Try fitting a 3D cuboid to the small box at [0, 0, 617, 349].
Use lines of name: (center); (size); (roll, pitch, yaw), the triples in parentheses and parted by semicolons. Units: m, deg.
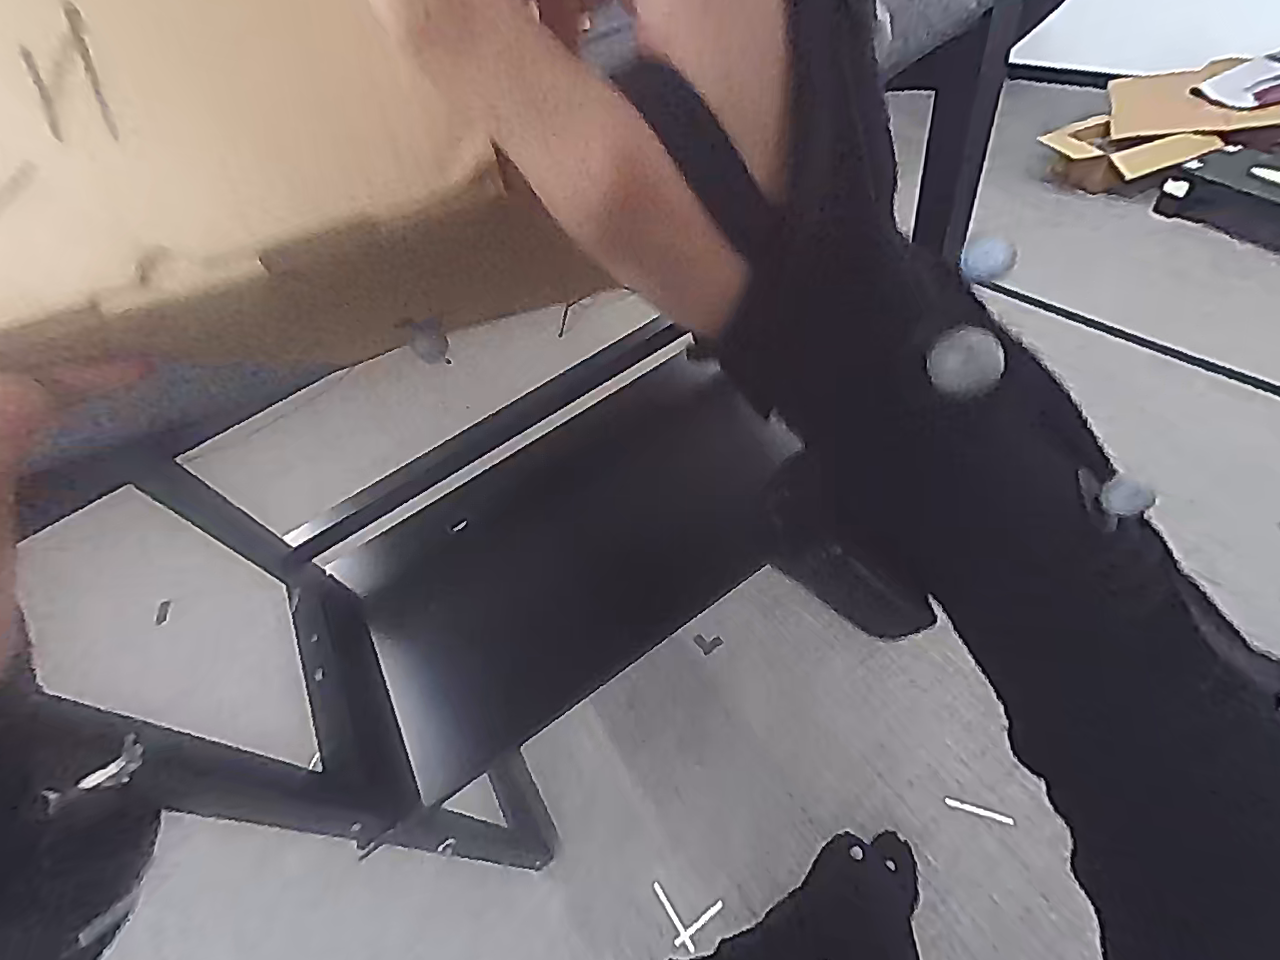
small box: (-0.115, -0.150, 0.184); (0.168, 0.179, 0.176); (-12, 11, 10)
